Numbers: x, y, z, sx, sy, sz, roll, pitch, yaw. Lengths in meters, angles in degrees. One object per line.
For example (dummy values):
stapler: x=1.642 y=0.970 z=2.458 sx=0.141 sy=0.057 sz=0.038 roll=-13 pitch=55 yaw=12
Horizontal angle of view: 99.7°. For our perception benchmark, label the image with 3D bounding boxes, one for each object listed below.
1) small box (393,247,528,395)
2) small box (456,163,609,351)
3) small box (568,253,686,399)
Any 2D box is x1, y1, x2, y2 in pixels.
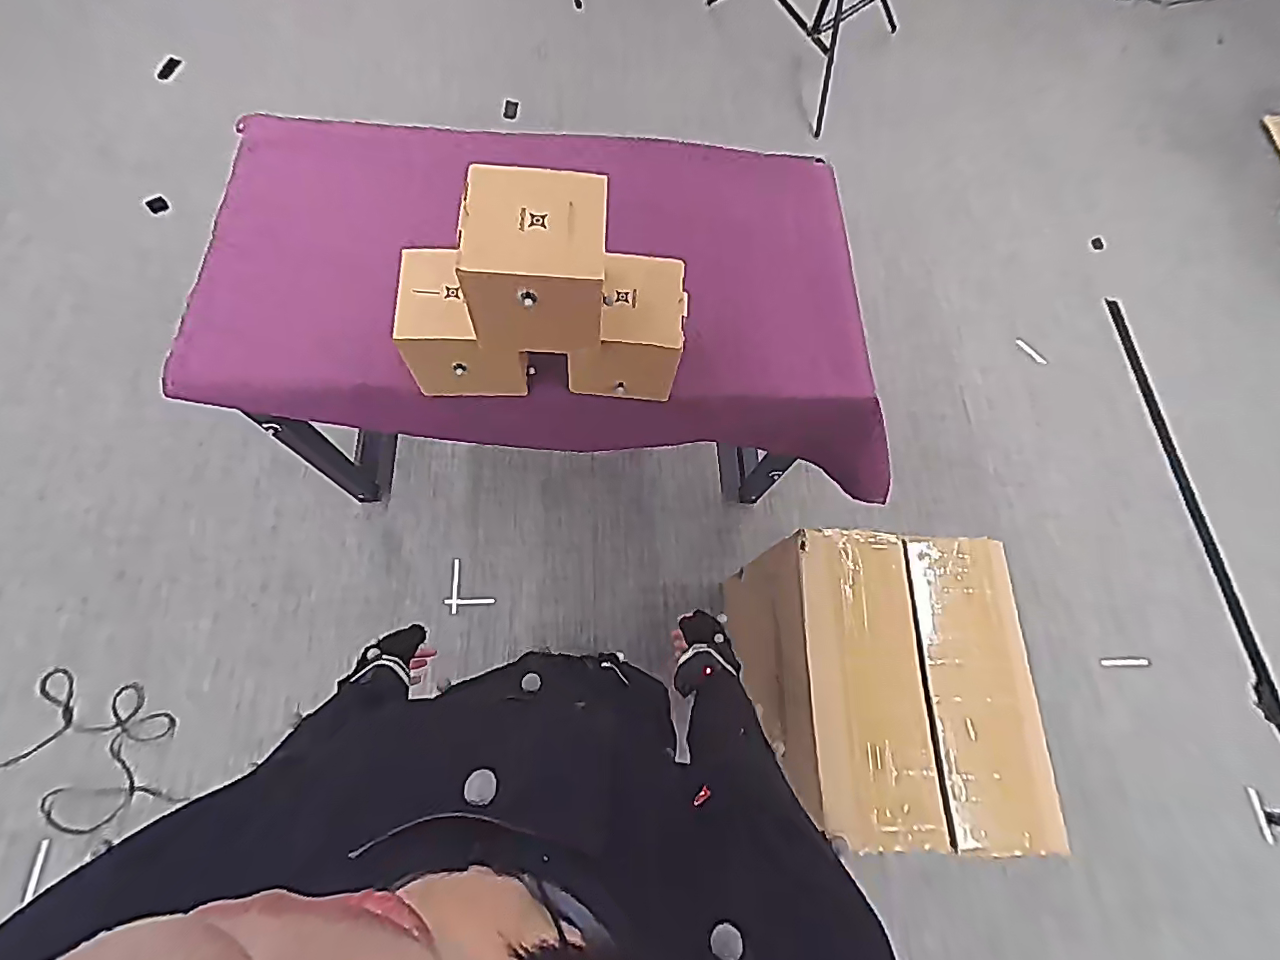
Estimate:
small box: x=-0.274 y=-0.249 z=0.876 sx=0.179 sy=0.176 sz=0.168 roll=-1 pitch=69 yaw=-5
small box: x=-0.134 y=-0.291 z=0.732 sx=0.179 sy=0.176 sz=0.168 roll=2 pitch=71 yaw=-6
small box: x=-0.025 y=-0.250 z=0.904 sx=0.179 sy=0.176 sz=0.168 roll=4 pitch=69 yaw=-4
